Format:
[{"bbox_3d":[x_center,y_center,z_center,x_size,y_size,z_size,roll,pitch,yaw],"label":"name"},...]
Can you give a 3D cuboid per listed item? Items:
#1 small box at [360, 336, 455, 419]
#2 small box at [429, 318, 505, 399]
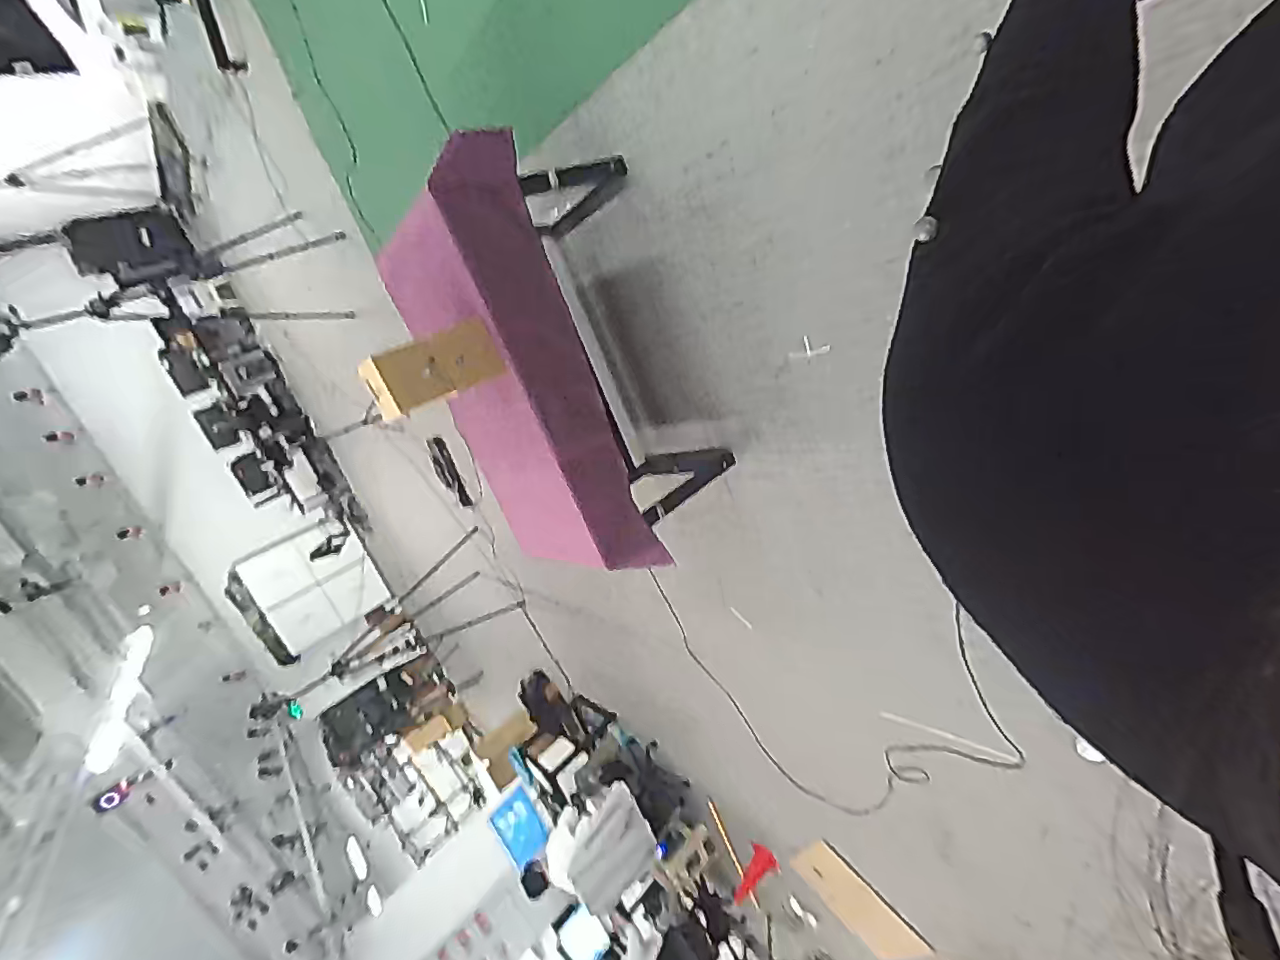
[{"bbox_3d":[-0.645,-0.284,1.505,0.179,0.176,0.168,-4,114,52],"label":"small box"},{"bbox_3d":[-0.524,-0.357,1.591,0.168,0.176,0.179,0,116,51],"label":"small box"}]
